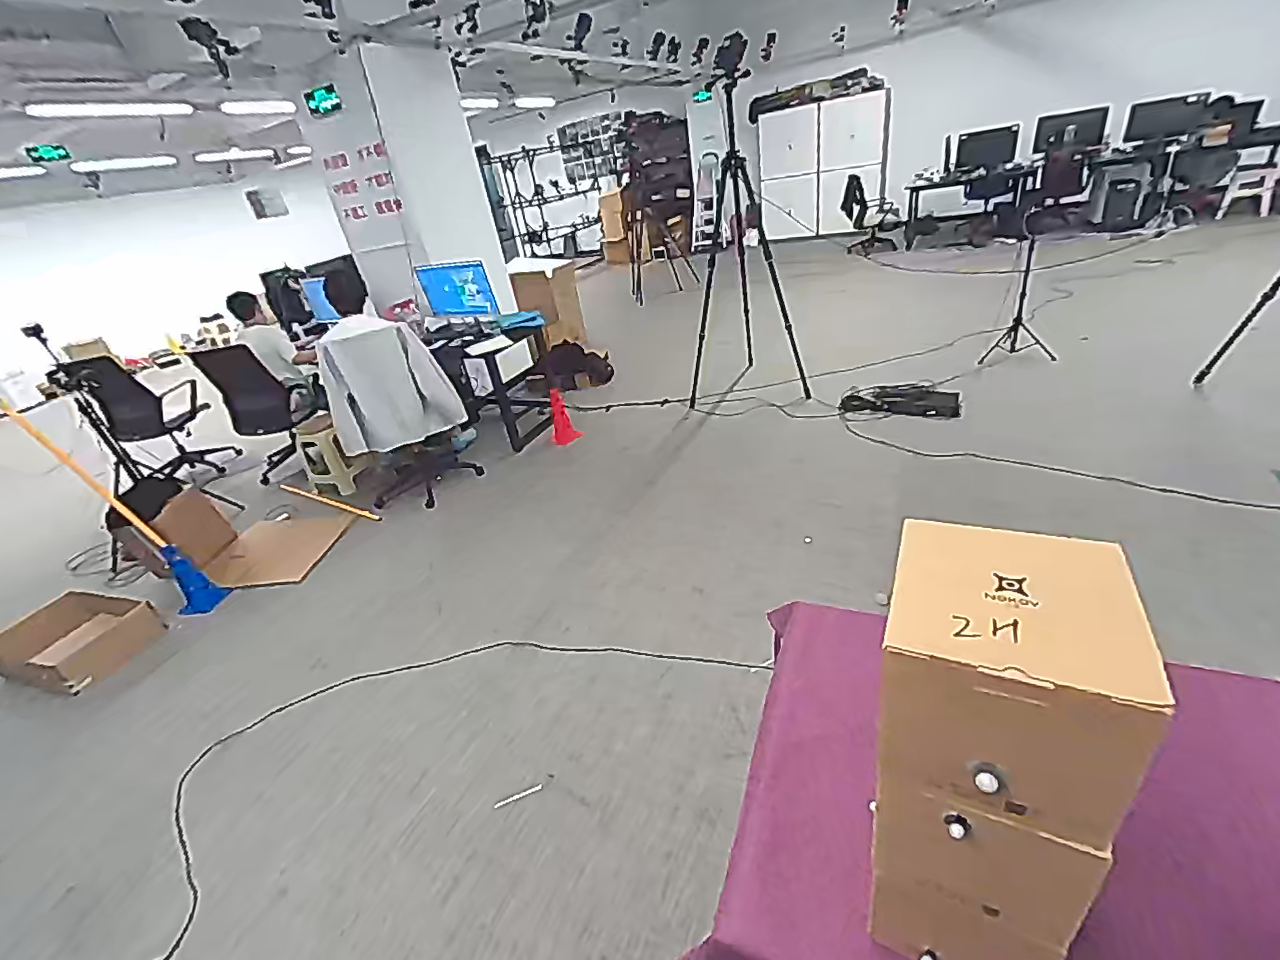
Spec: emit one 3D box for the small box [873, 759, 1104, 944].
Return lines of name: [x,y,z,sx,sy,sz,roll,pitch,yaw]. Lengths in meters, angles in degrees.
small box: [0.336,0.301,0.547,0.168,0.176,0.179,6,33,30]

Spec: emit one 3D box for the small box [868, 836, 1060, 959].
small box: [0.366,0.442,0.628,0.168,0.176,0.179,7,35,30]

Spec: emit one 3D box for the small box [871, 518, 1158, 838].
small box: [0.302,0.158,0.472,0.168,0.176,0.179,6,34,29]
